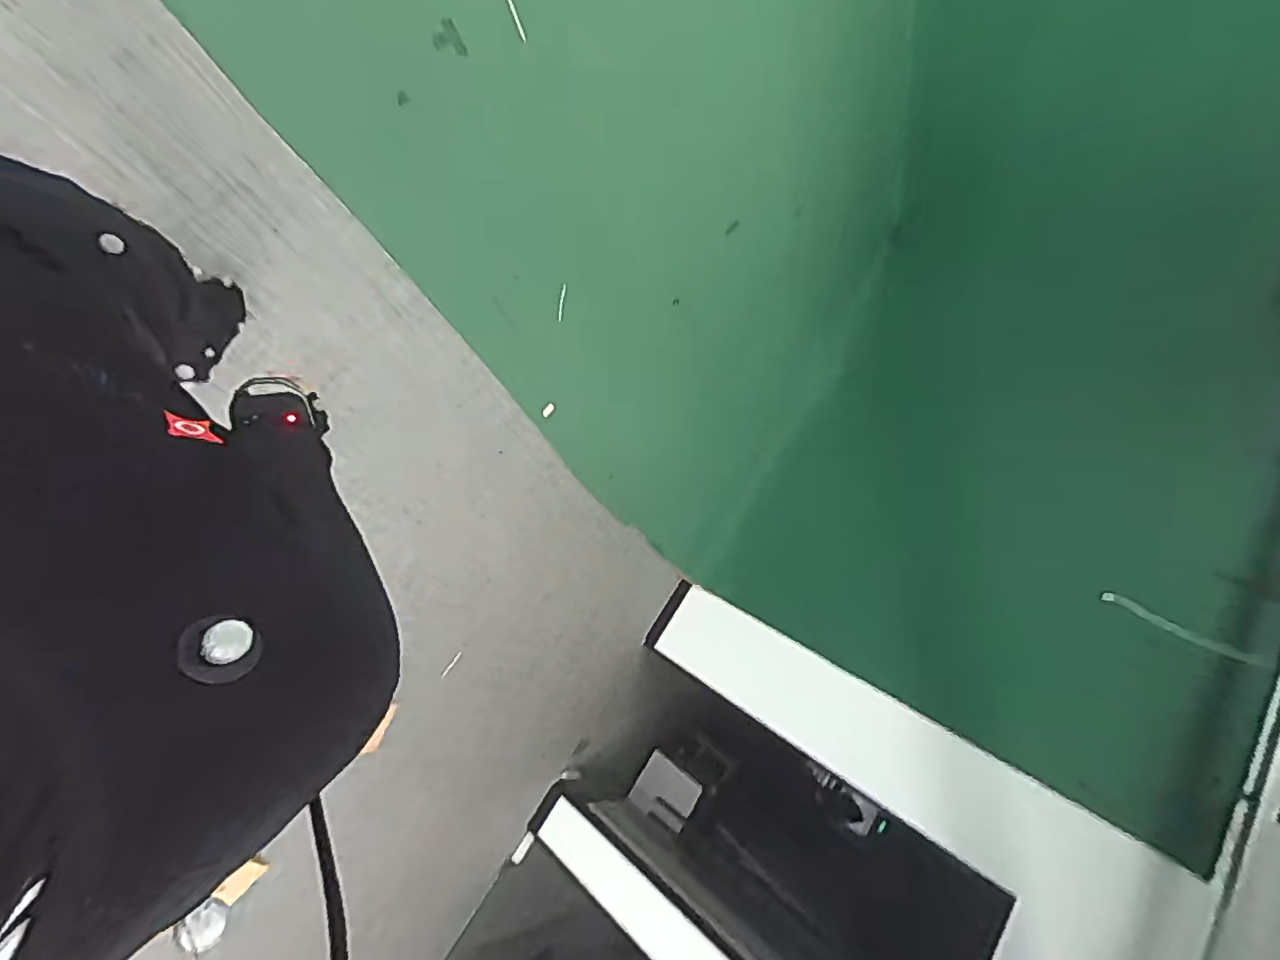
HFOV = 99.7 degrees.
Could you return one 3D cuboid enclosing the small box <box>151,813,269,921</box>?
[{"bbox_3d":[-1.182,1.062,1.491,0.168,0.176,0.179,-44,143,-29],"label":"small box"}]
